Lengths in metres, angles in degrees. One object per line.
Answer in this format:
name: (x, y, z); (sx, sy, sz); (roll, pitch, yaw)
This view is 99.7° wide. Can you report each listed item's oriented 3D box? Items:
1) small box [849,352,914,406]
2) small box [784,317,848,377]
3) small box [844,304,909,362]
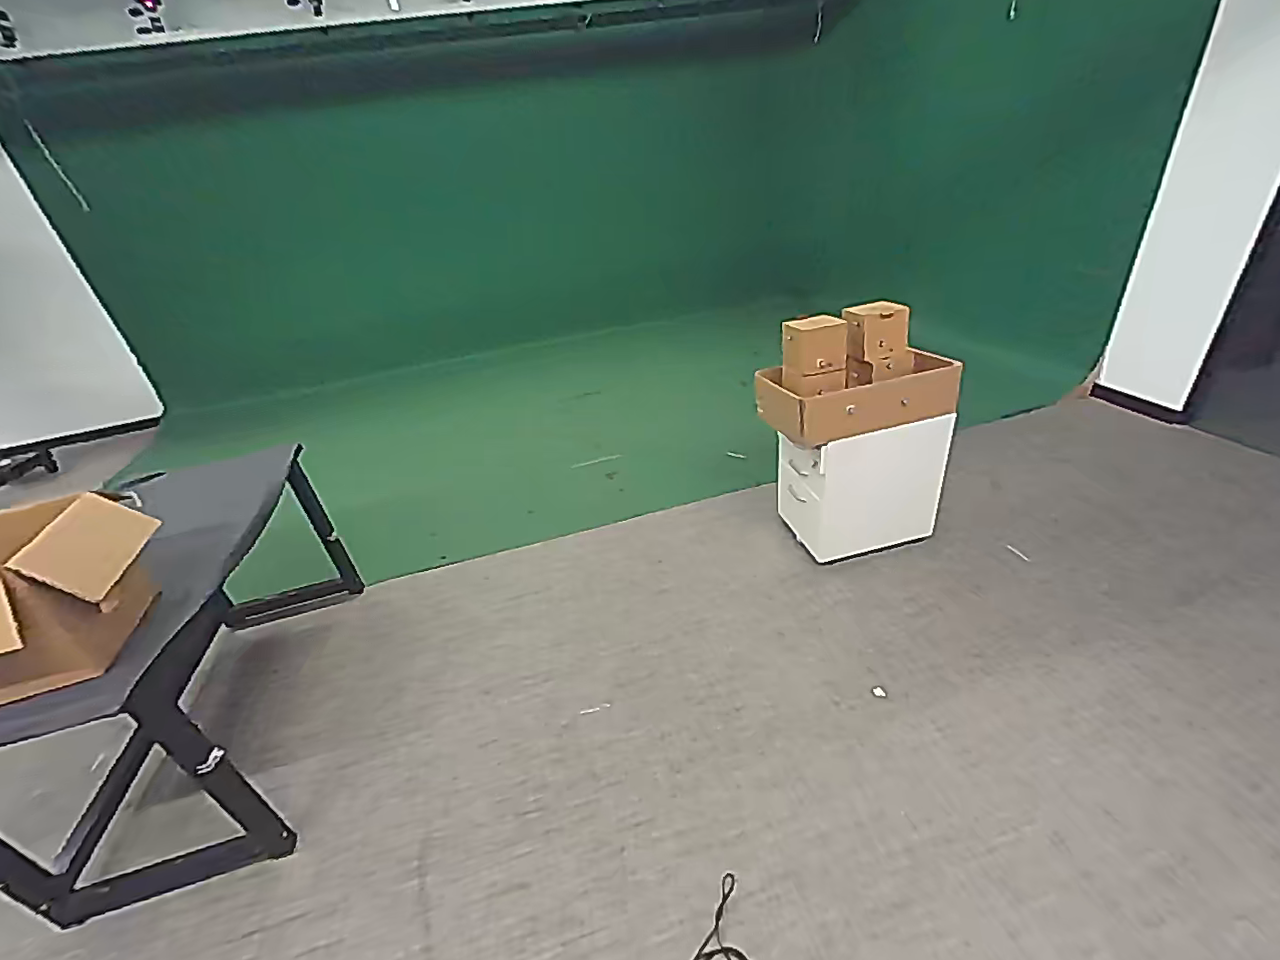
small box: (0.912, -0.391, 2.052); (0.168, 0.176, 0.179); (-15, 26, -5)
small box: (0.632, -0.479, 1.952); (0.168, 0.176, 0.179); (-12, 27, -5)
small box: (0.871, -0.546, 2.008); (0.168, 0.176, 0.179); (-11, 26, -3)
